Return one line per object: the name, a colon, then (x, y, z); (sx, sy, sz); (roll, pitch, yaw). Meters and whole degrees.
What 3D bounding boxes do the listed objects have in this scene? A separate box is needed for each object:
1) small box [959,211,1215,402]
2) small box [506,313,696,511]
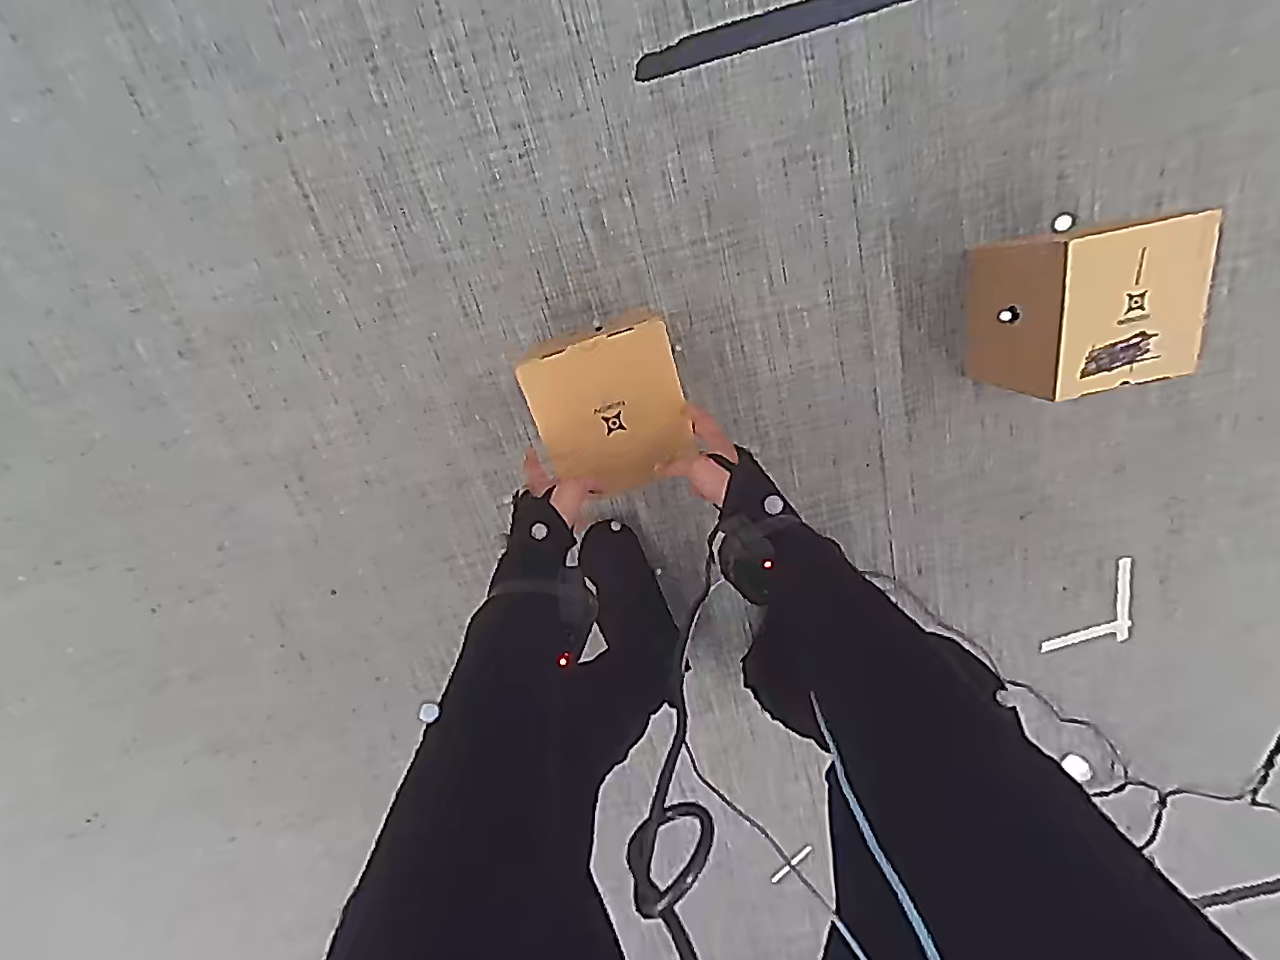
small box: (0.518, -0.210, 0.658); (0.168, 0.176, 0.179); (-12, 110, -1)
small box: (-0.042, -0.091, 0.662); (0.168, 0.176, 0.179); (-19, 110, 3)
